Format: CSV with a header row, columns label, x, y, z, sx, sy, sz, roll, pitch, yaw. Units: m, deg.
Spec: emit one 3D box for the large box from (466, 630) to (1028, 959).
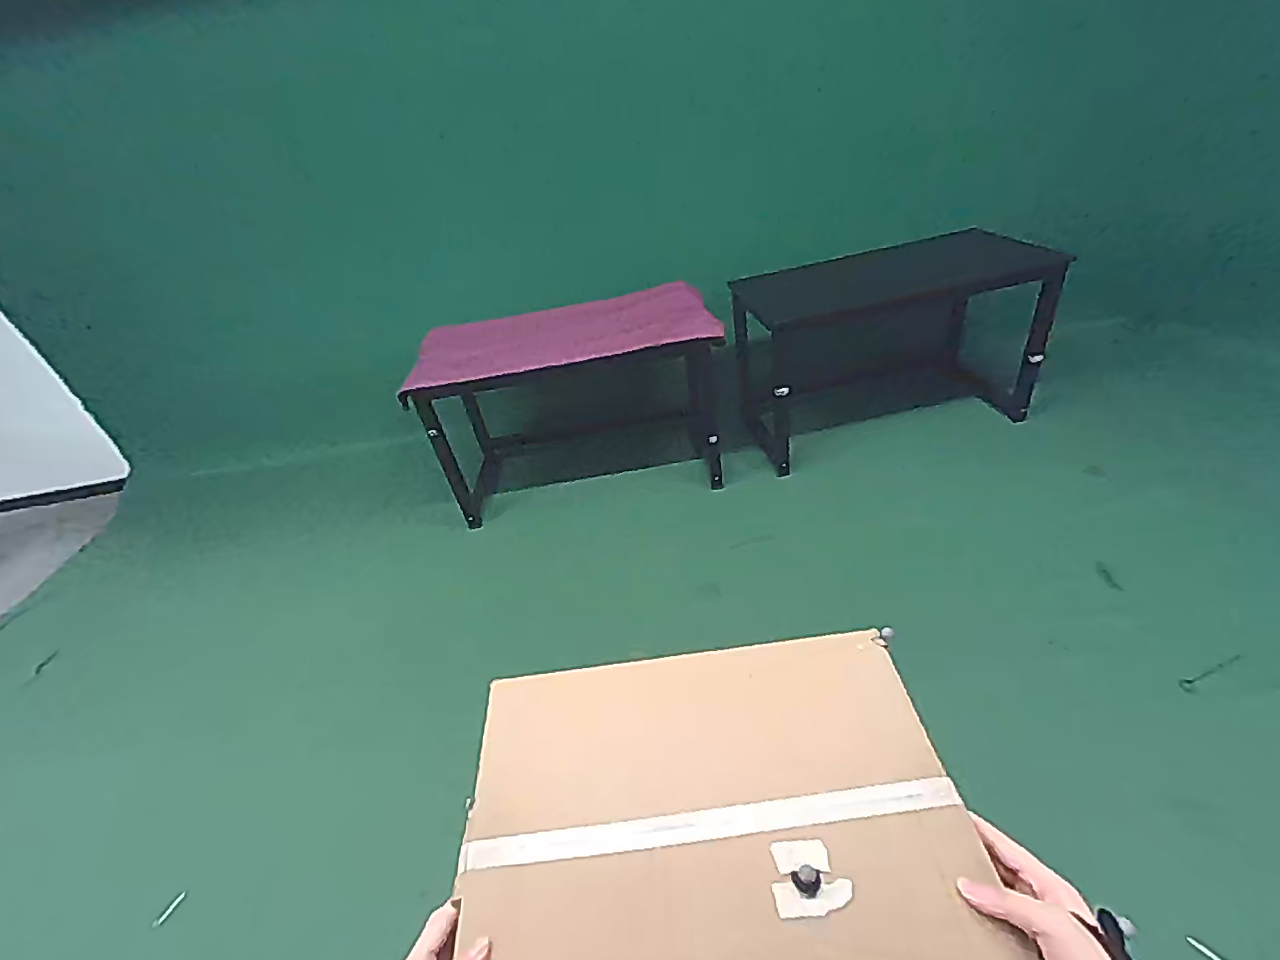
label,x,y,z,sx,sy,sz,roll,pitch,yaw
large box,0.073,0.395,0.554,0.408,0.320,0.320,-7,41,0
